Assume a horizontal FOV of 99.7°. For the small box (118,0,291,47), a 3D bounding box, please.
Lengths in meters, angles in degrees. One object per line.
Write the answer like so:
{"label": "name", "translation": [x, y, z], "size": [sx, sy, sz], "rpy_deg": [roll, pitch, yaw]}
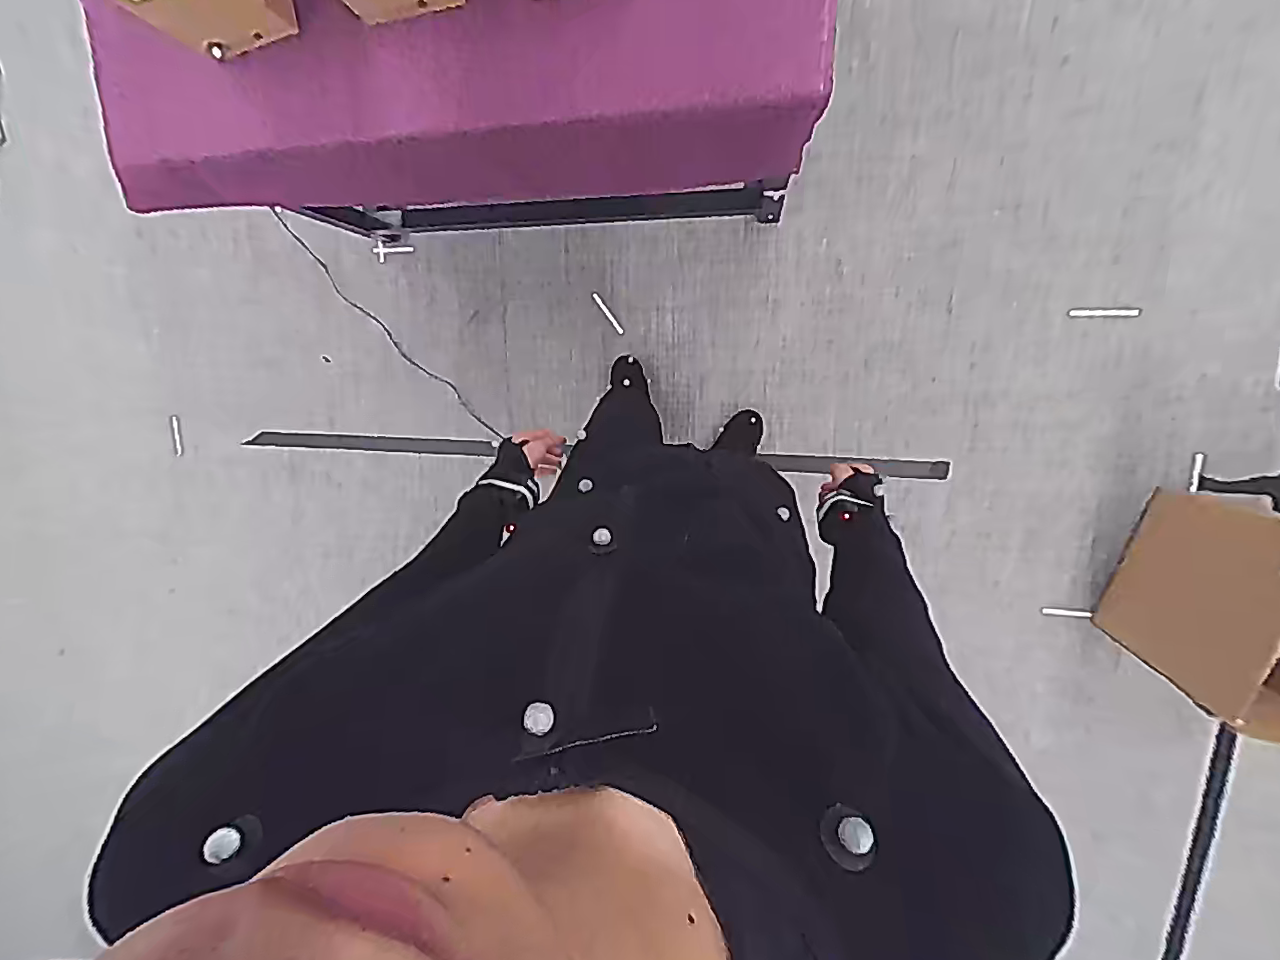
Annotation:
{"label": "small box", "translation": [-0.637, -0.759, 0.763], "size": [0.168, 0.176, 0.179], "rpy_deg": [-8, 99, 12]}
